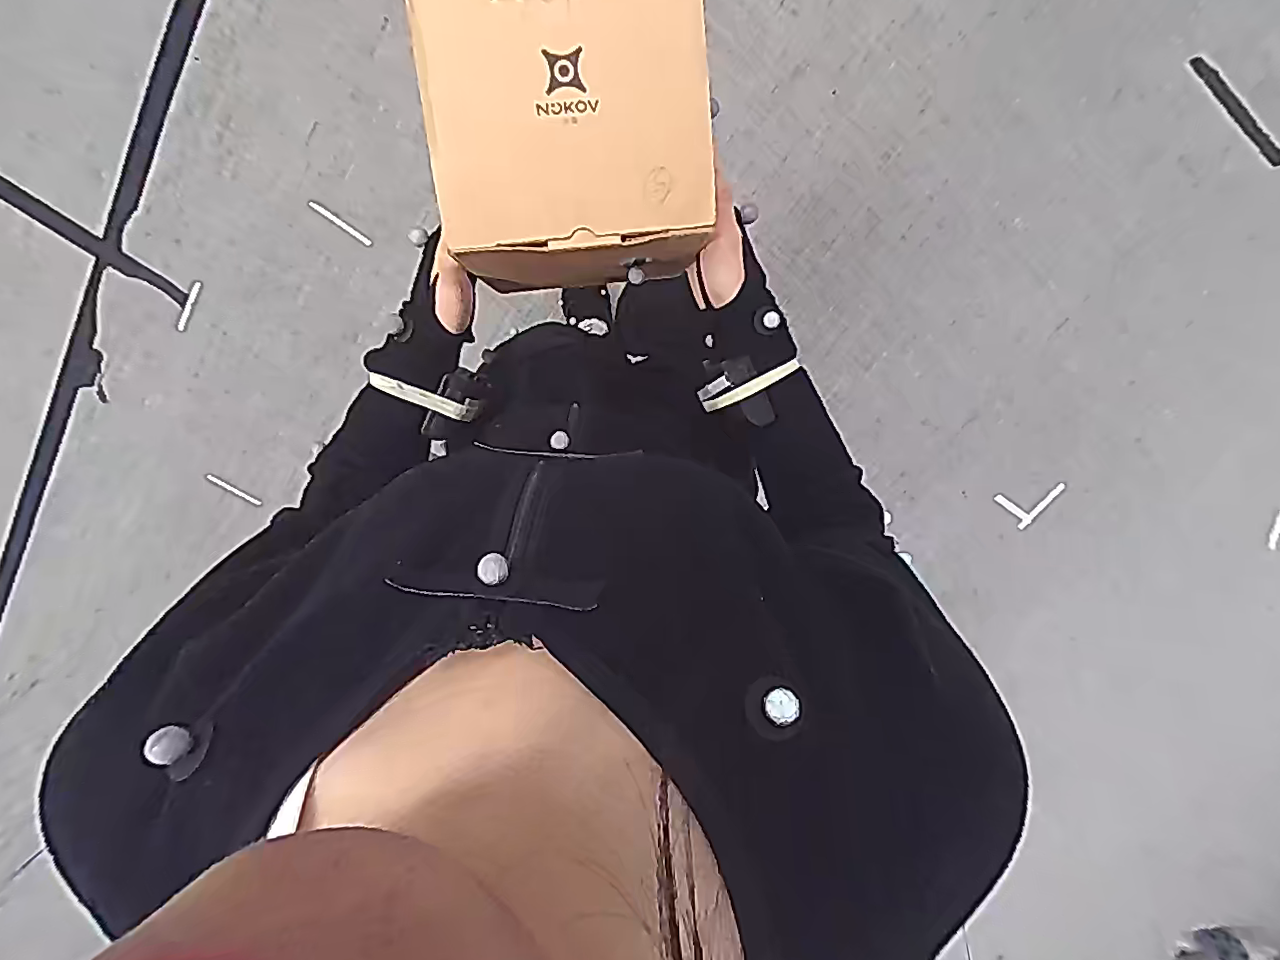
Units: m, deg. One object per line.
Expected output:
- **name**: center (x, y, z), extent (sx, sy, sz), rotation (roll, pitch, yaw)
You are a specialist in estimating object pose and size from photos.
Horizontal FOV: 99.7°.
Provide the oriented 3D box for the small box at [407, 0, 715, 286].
- **small box**: center (-0.048, -0.241, 0.384), extent (0.168, 0.176, 0.179), rotation (-7, 101, -4)
